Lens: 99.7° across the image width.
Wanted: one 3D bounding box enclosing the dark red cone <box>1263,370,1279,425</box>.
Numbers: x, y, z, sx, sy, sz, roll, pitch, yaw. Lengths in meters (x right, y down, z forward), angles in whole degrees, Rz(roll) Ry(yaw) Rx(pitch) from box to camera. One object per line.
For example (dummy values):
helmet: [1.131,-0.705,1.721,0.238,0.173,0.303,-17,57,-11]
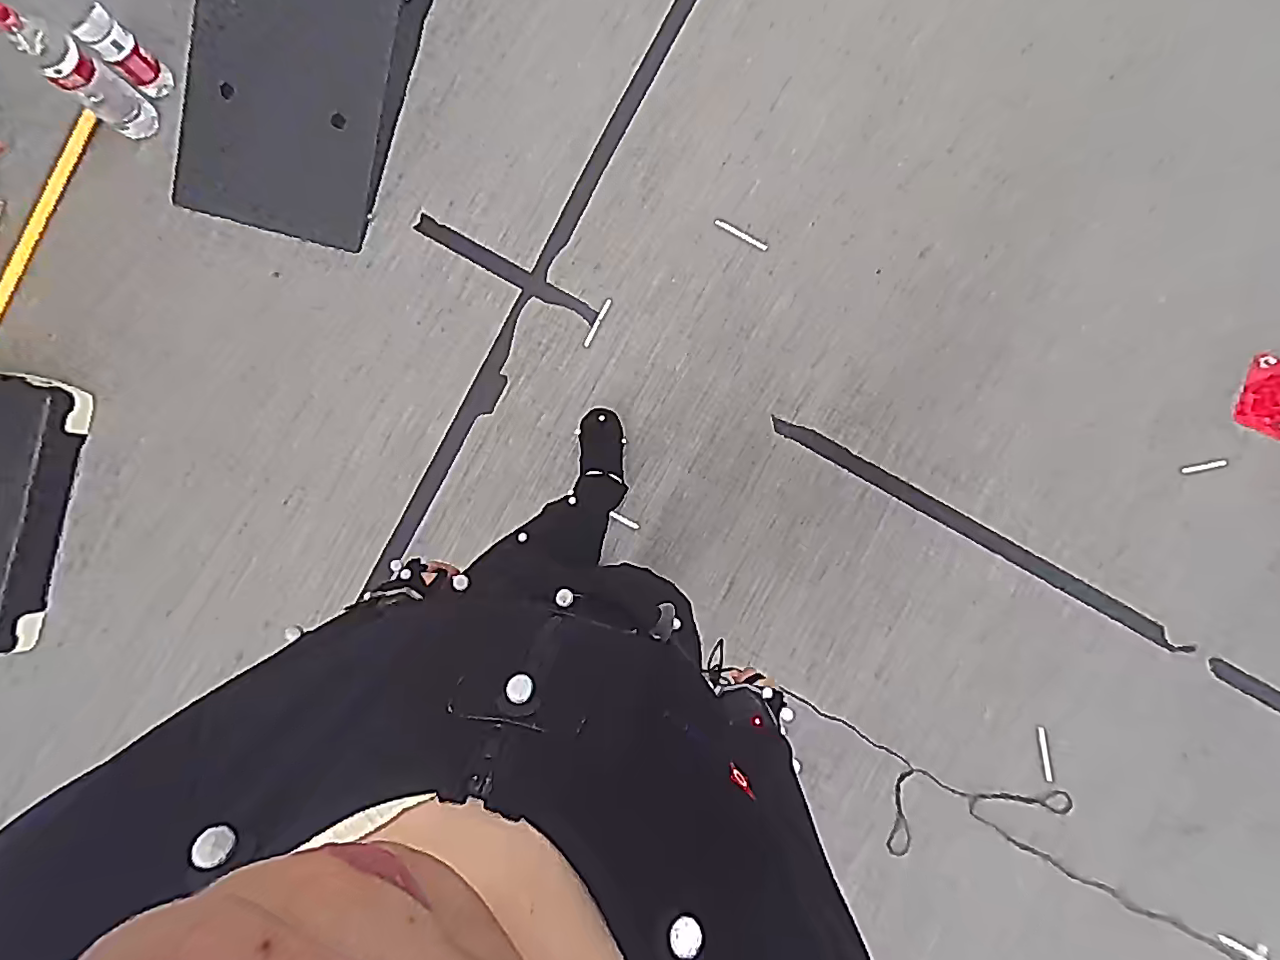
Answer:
dark red cone: [1.690,-0.216,1.200,0.202,0.394,0.201,21,89,0]
